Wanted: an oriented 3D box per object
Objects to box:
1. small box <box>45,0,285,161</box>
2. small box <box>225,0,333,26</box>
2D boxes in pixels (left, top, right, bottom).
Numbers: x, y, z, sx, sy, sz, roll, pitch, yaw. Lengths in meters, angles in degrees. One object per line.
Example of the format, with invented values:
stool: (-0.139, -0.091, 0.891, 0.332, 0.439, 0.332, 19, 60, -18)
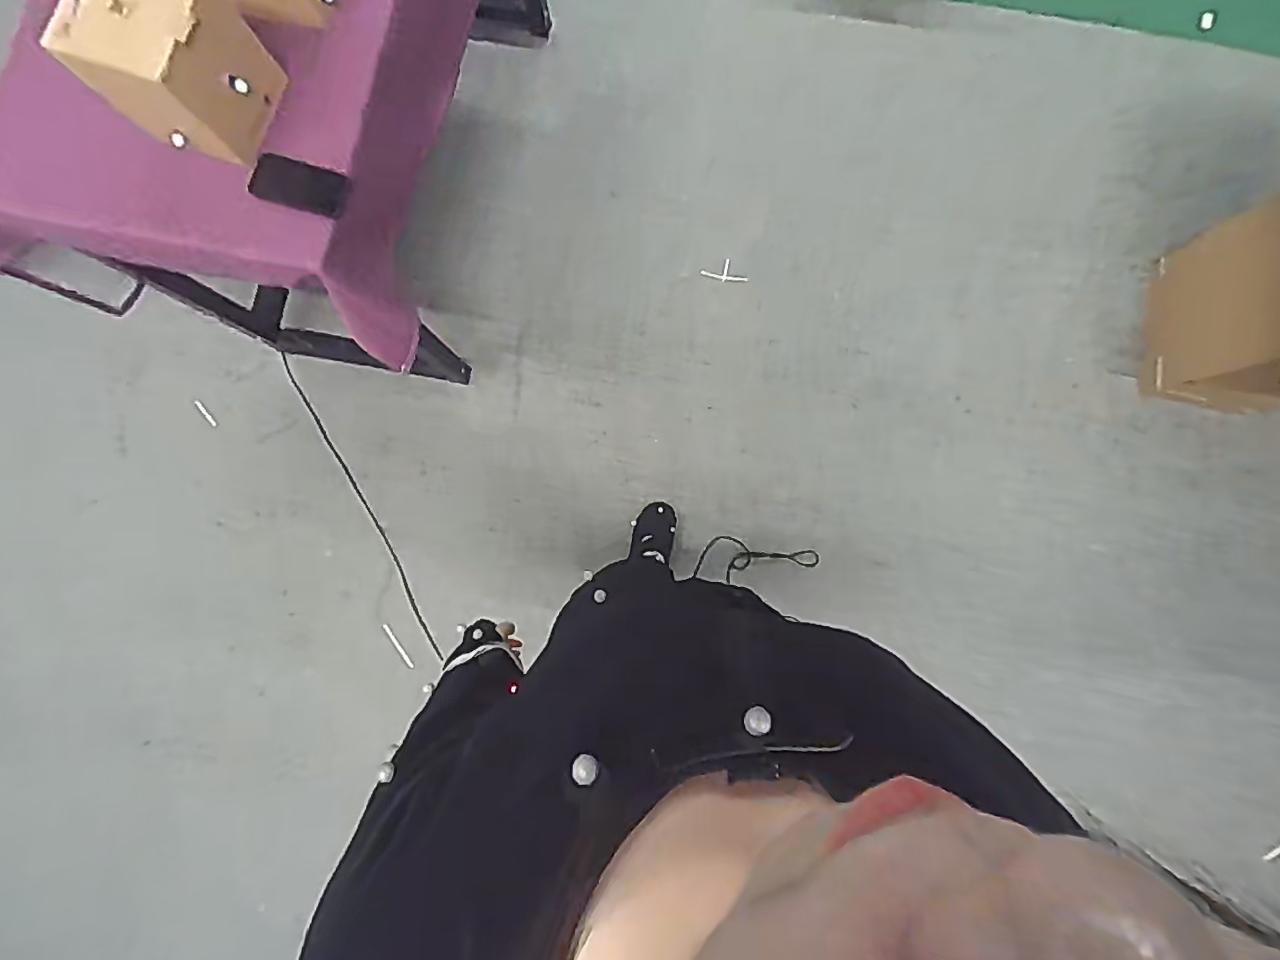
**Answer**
small box: (-0.673, -0.609, 0.792, 0.179, 0.176, 0.168, 19, 85, 3)
small box: (-0.574, -0.838, 0.813, 0.179, 0.176, 0.168, 11, 84, 3)
